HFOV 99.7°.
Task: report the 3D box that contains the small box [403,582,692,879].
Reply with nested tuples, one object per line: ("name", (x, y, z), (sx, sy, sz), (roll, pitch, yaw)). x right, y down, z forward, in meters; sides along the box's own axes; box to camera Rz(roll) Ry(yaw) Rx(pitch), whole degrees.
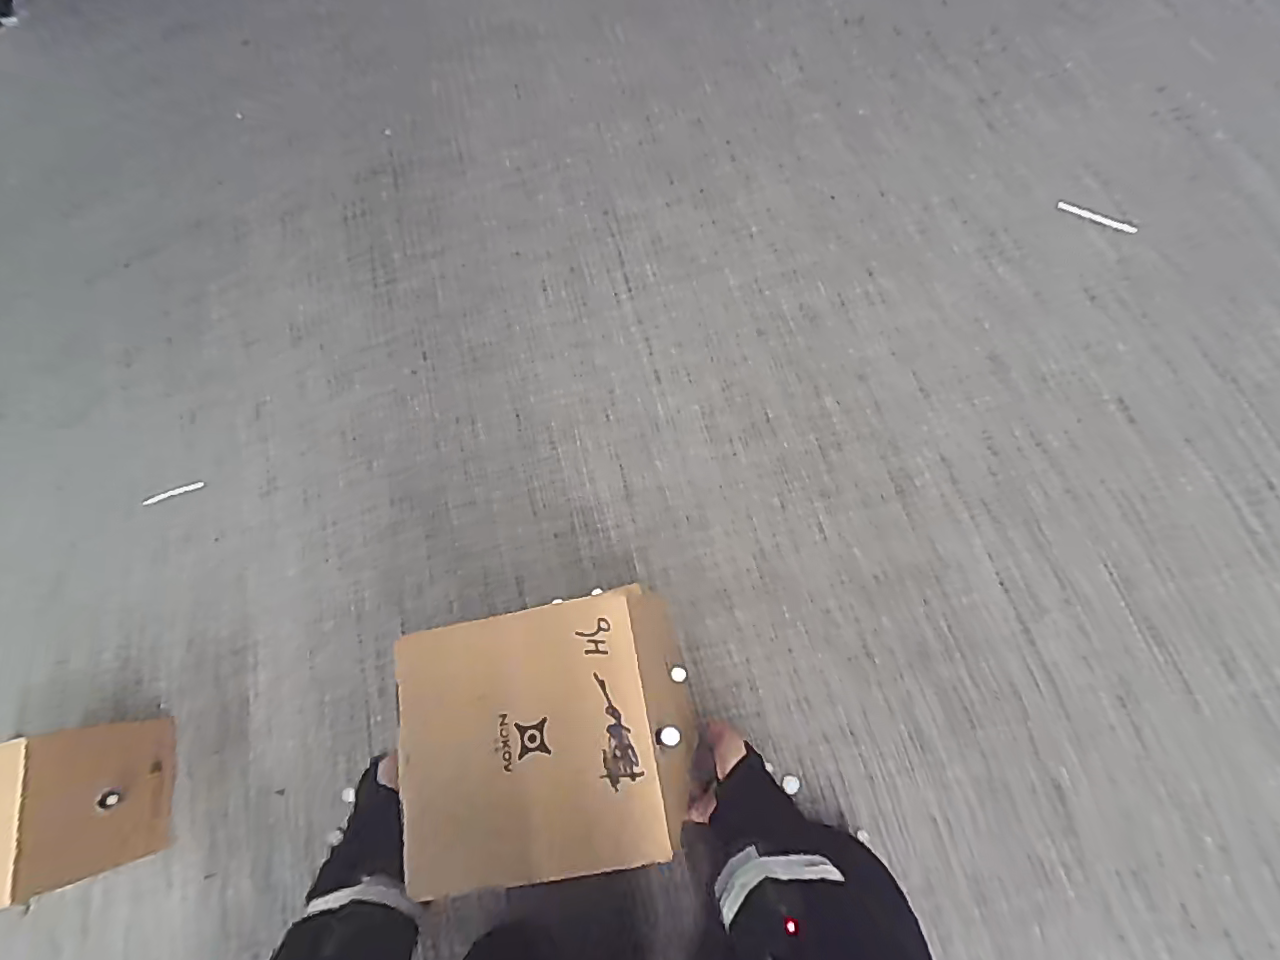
("small box", (-0.063, 0.188, 0.440), (0.179, 0.176, 0.168), (-13, 72, 6))

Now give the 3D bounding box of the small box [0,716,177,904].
("small box", (-0.723, 0.403, 0.667), (0.179, 0.176, 0.168), (-17, 71, 5))
